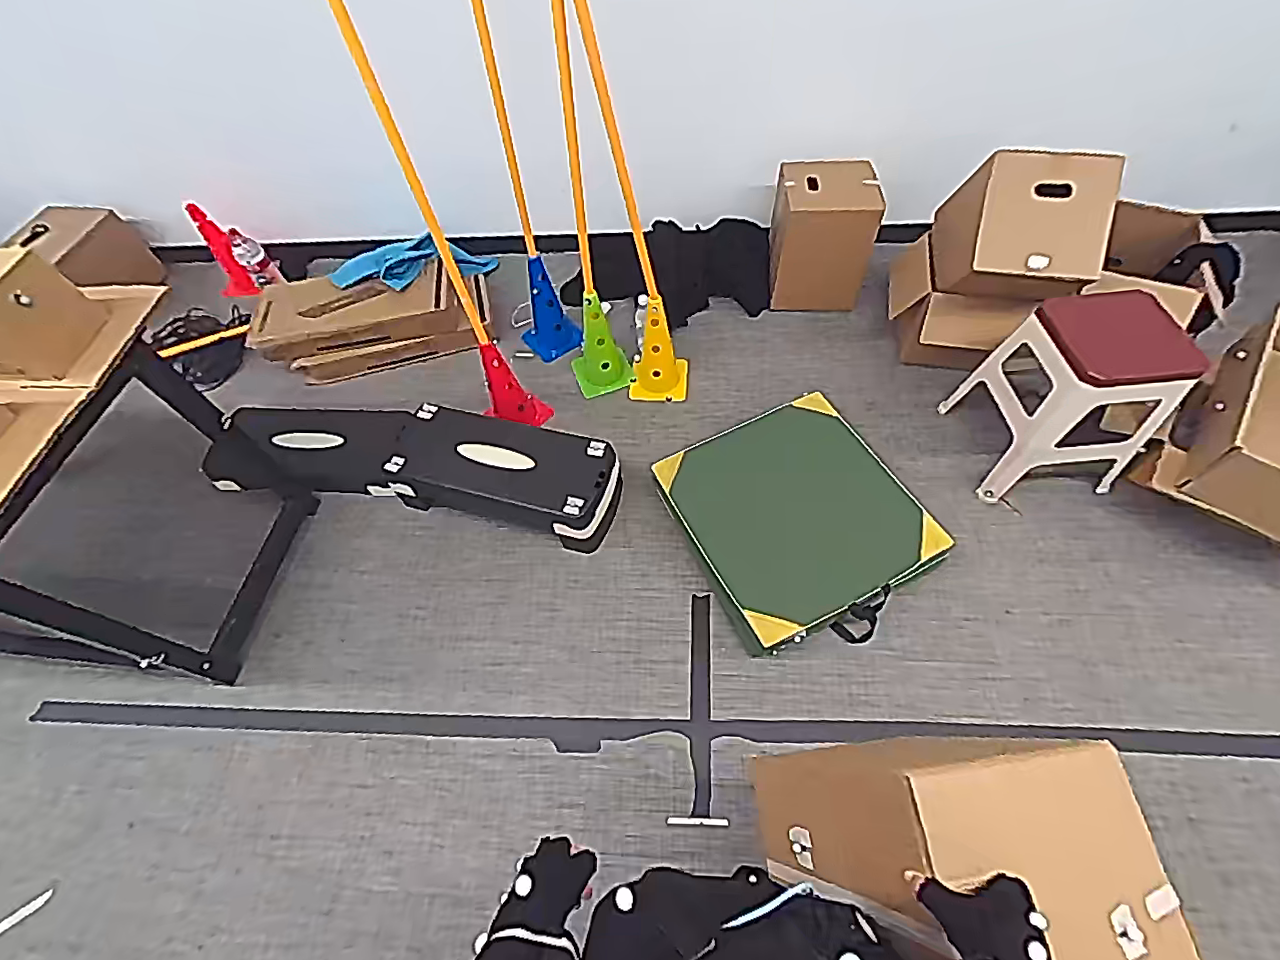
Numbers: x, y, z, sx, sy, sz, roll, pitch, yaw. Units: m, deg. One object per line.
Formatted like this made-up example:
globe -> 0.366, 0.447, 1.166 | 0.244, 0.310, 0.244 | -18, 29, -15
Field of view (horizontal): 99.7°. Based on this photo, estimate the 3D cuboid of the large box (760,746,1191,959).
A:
large box -> 0.416, 0.561, 0.755 | 0.320, 0.408, 0.320 | 1, 65, -14
